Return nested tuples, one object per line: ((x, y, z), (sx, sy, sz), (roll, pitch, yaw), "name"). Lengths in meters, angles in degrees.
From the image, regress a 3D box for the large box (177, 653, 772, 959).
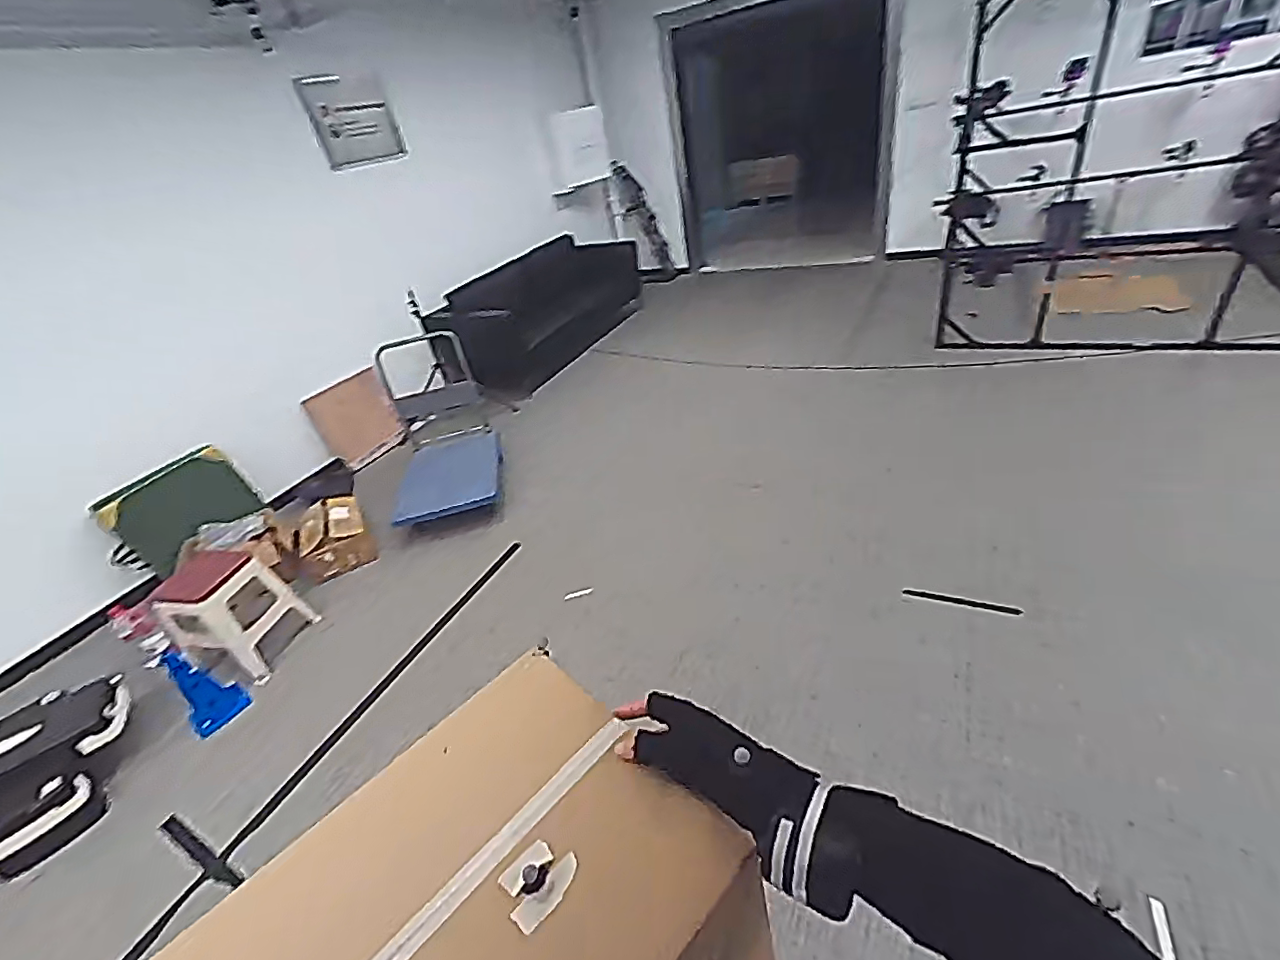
((-0.120, 0.468, 0.521), (0.408, 0.320, 0.320), (-35, 39, -30), "large box")
